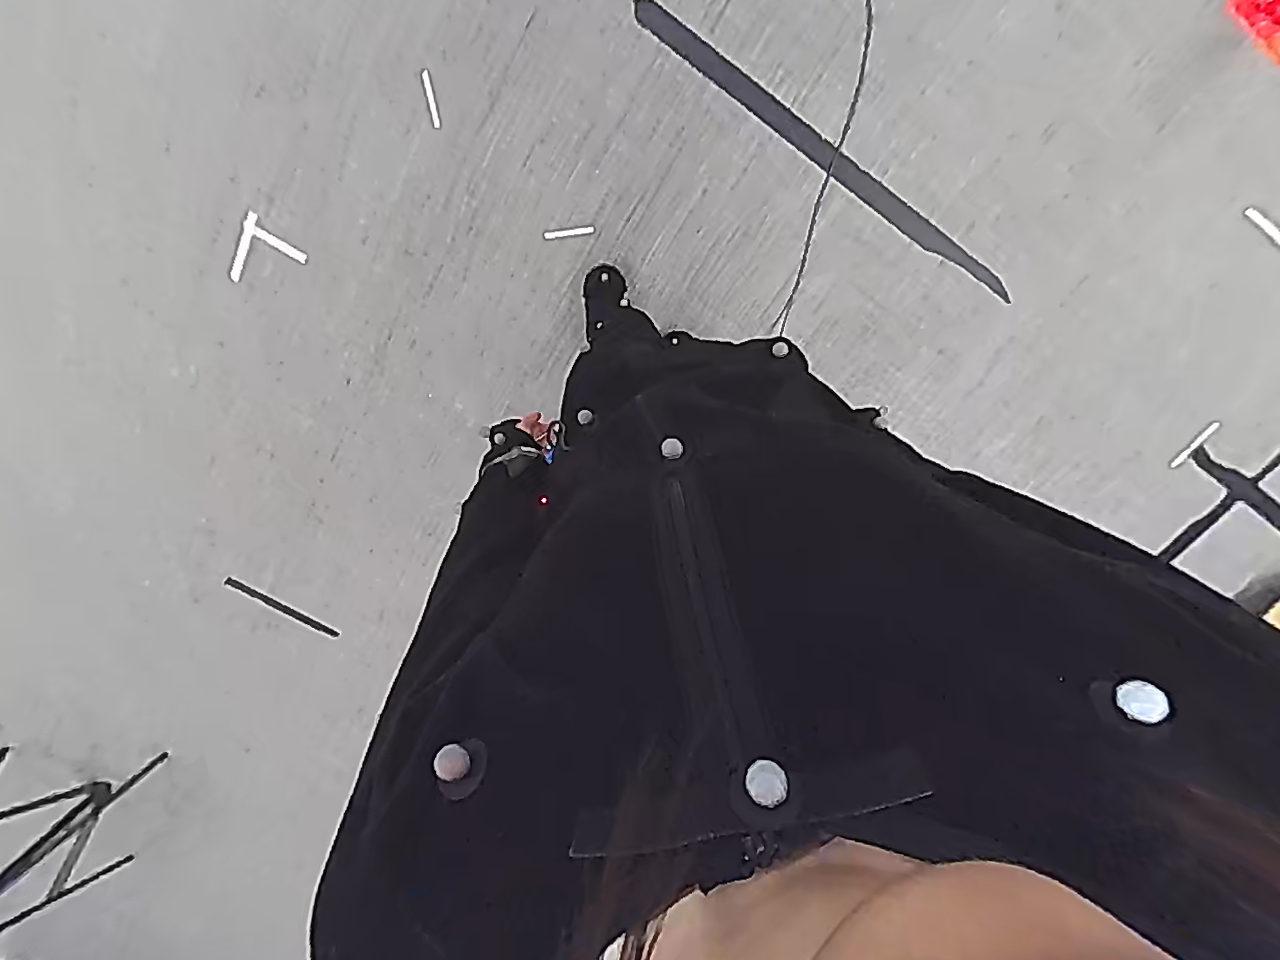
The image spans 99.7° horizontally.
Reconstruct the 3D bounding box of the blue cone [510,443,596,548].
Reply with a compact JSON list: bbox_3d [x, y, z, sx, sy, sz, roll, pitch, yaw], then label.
[{"bbox_3d":[-0.240,0.071,1.316,0.192,0.380,0.193,36,107,-9],"label":"blue cone"}]

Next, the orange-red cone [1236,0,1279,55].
[{"bbox_3d":[1.268,-0.898,0.872,0.199,0.360,0.198,35,108,-10],"label":"orange-red cone"}]
